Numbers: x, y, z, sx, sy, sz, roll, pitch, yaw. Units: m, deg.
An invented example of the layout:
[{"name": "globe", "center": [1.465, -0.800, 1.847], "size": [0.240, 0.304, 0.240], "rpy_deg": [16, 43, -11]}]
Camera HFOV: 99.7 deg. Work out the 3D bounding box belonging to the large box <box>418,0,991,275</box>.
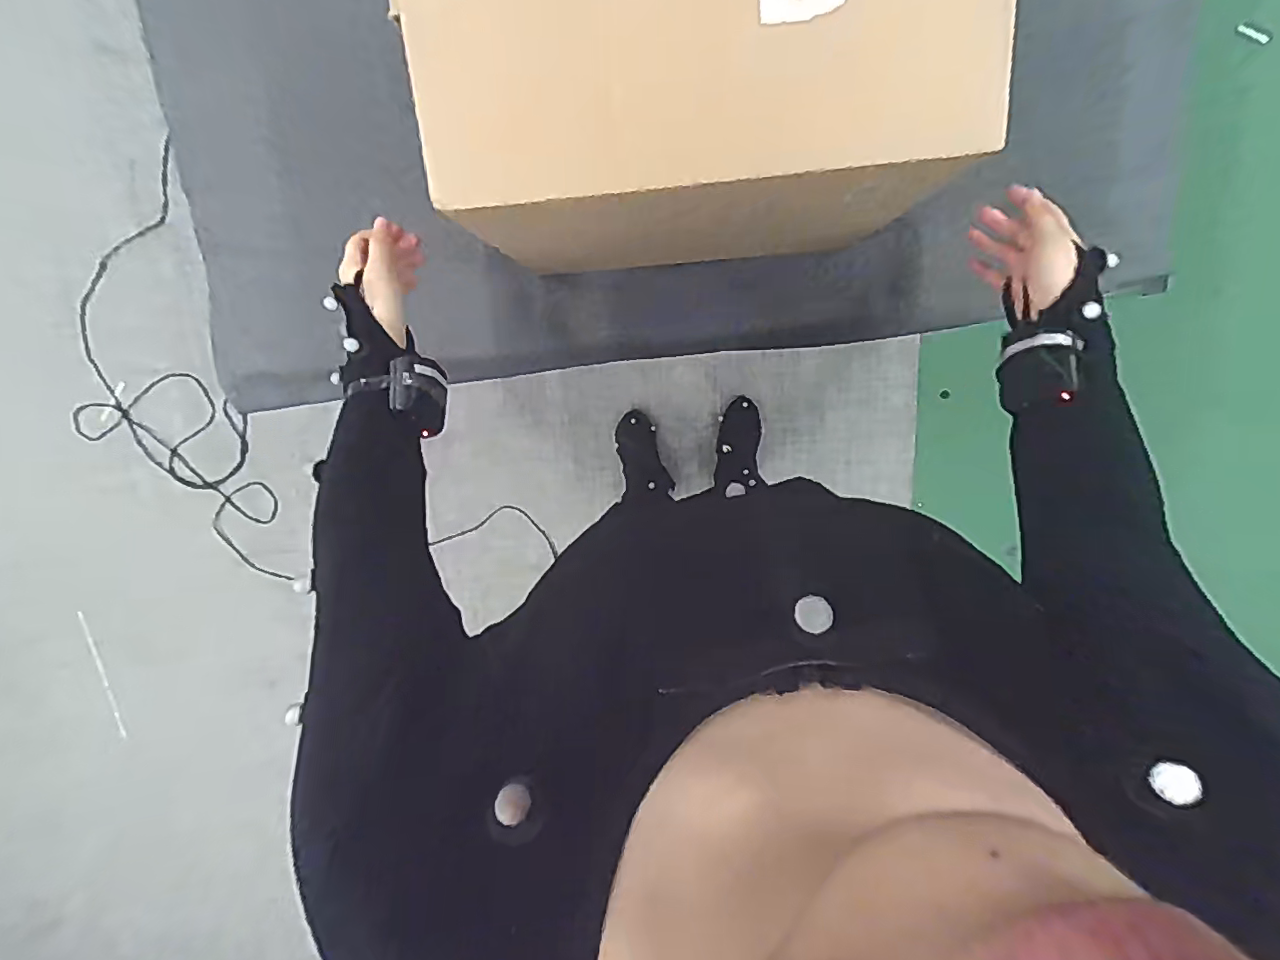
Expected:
[{"name": "large box", "center": [0.043, -0.401, 0.515], "size": [0.408, 0.320, 0.320], "rpy_deg": [-4, 102, 4]}]
